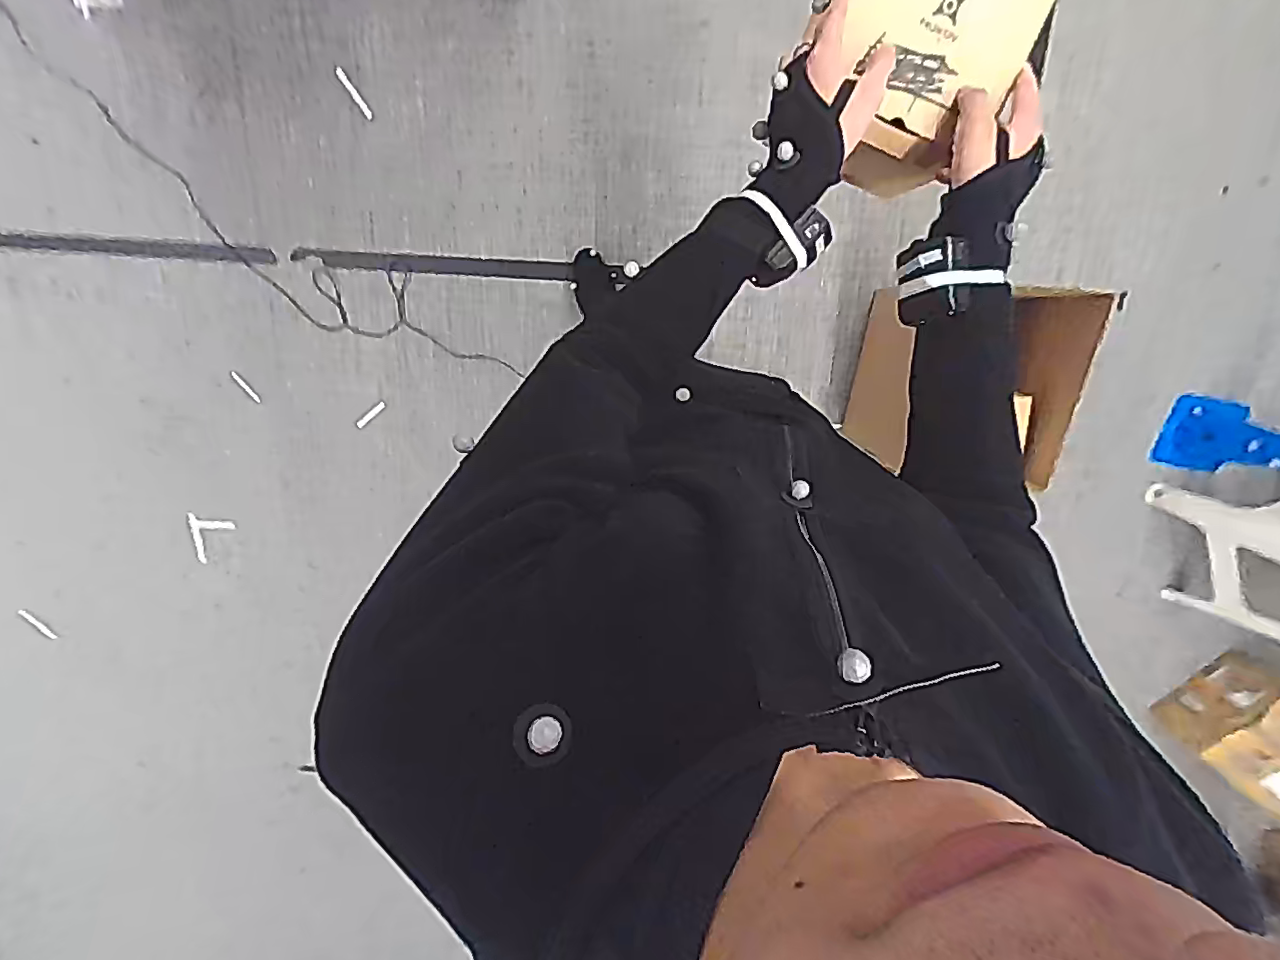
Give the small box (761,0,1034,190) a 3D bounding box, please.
[{"bbox_3d":[0.233,-0.411,0.525,0.168,0.176,0.179,18,105,-8],"label":"small box"}]
